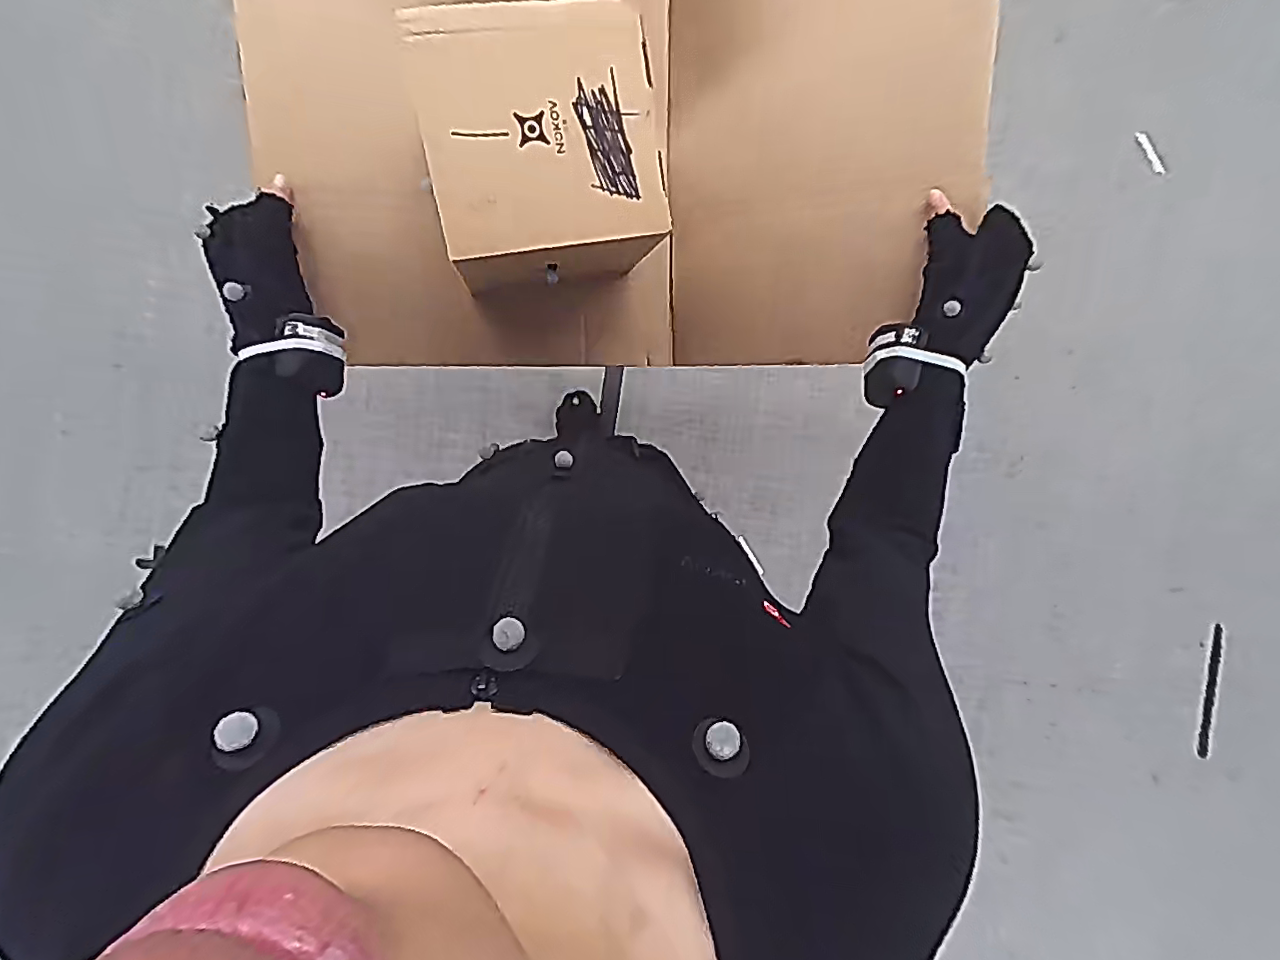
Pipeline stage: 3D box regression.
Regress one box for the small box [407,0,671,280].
[{"bbox_3d":[-0.086,-0.286,0.485,0.179,0.176,0.168,-11,103,-9],"label":"small box"}]
